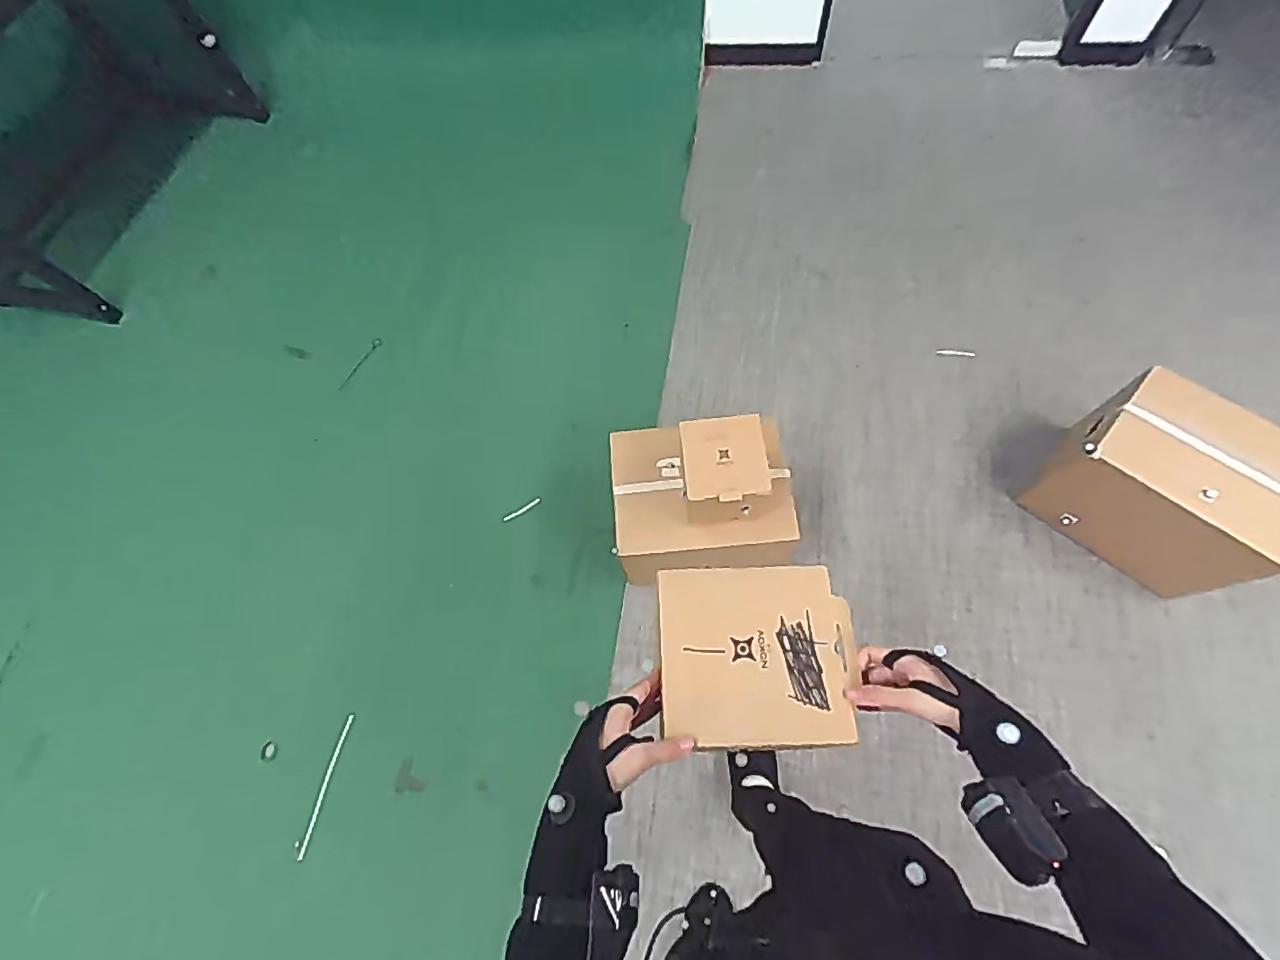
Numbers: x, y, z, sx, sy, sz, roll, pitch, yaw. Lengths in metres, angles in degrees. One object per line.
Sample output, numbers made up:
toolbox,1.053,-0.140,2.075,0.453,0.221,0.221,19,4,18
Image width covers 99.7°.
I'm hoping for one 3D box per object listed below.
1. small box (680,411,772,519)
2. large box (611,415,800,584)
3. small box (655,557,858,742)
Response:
small box,0.176,-0.023,1.140,0.168,0.176,0.179,-6,67,3
large box,0.155,0.066,1.372,0.408,0.320,0.320,-7,65,4
small box,0.107,0.188,0.584,0.179,0.176,0.168,-1,62,0
